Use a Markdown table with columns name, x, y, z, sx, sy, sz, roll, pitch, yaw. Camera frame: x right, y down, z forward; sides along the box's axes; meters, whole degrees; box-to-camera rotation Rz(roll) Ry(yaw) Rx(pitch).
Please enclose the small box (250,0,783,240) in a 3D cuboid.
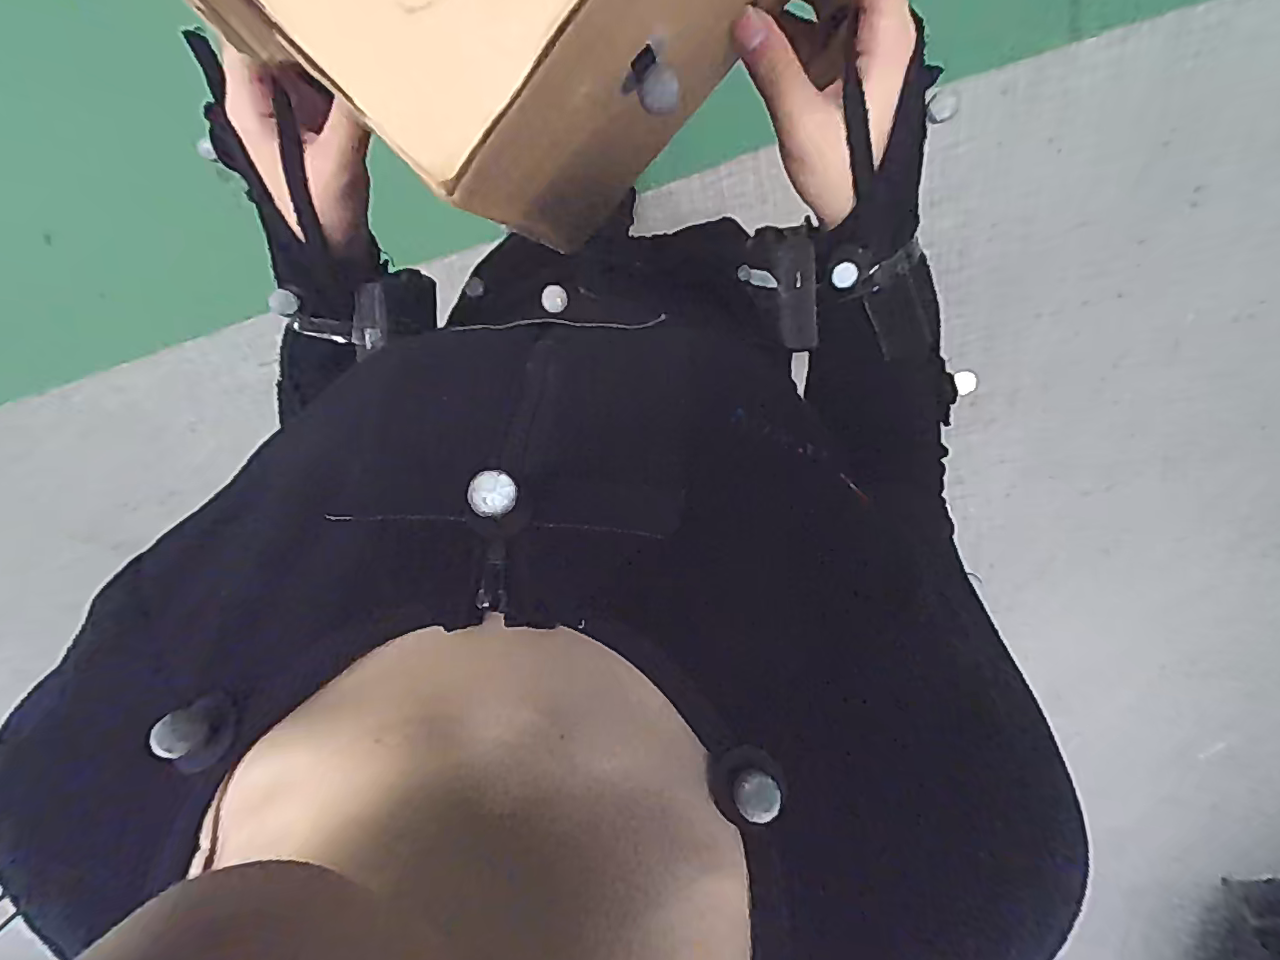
| name | x | y | z | sx | sy | sz | roll | pitch | yaw |
| --- | --- | --- | --- | --- | --- | --- | --- | --- | --- |
| small box | -0.043 | -0.217 | 0.202 | 0.168 | 0.176 | 0.179 | 43 | 107 | -9 |
